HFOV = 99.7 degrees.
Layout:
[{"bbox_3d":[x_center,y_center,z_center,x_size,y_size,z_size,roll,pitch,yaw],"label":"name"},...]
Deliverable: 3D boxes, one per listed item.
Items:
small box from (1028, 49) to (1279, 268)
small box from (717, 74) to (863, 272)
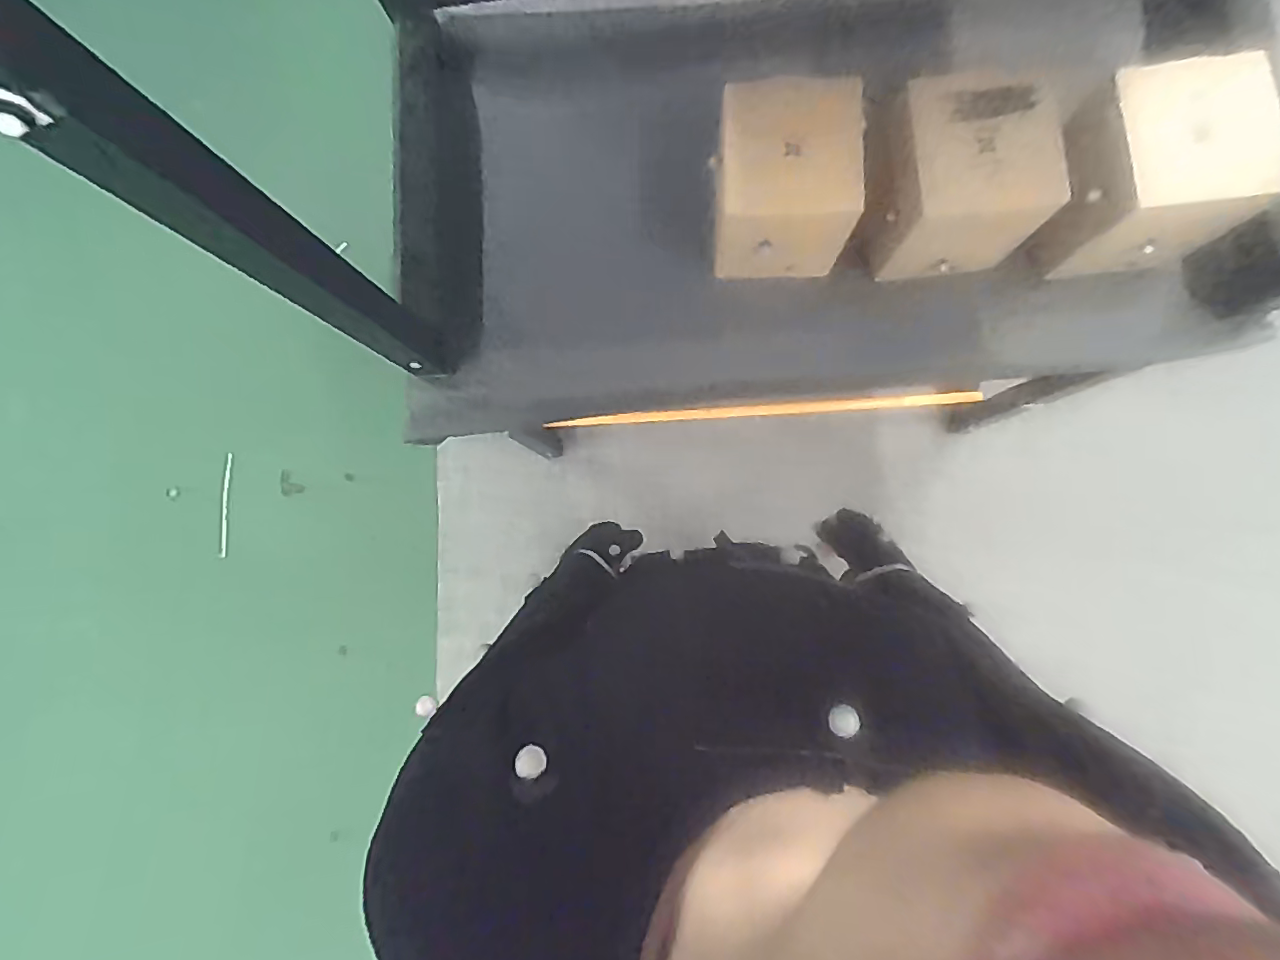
[{"bbox_3d":[0.639,-0.389,0.689,0.168,0.176,0.179,-5,83,4],"label":"small box"},{"bbox_3d":[0.192,-0.398,0.731,0.168,0.176,0.179,1,84,5],"label":"small box"}]
